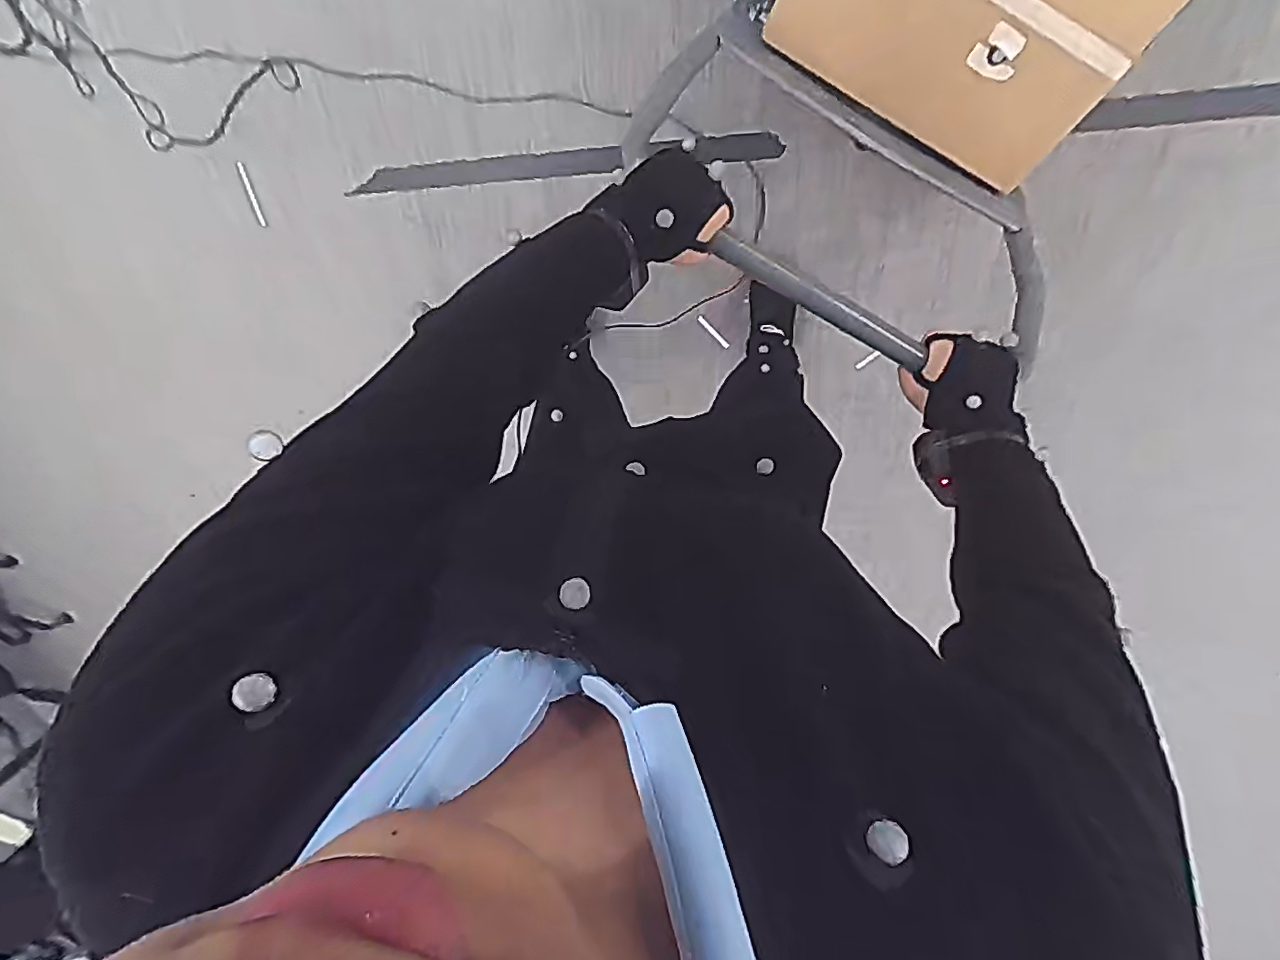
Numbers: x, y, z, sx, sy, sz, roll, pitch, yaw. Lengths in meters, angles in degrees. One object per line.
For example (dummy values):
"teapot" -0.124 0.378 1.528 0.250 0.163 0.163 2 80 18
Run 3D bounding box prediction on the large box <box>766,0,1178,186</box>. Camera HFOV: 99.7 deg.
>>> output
"large box" 0.435 -0.687 0.727 0.408 0.320 0.320 27 140 -6
